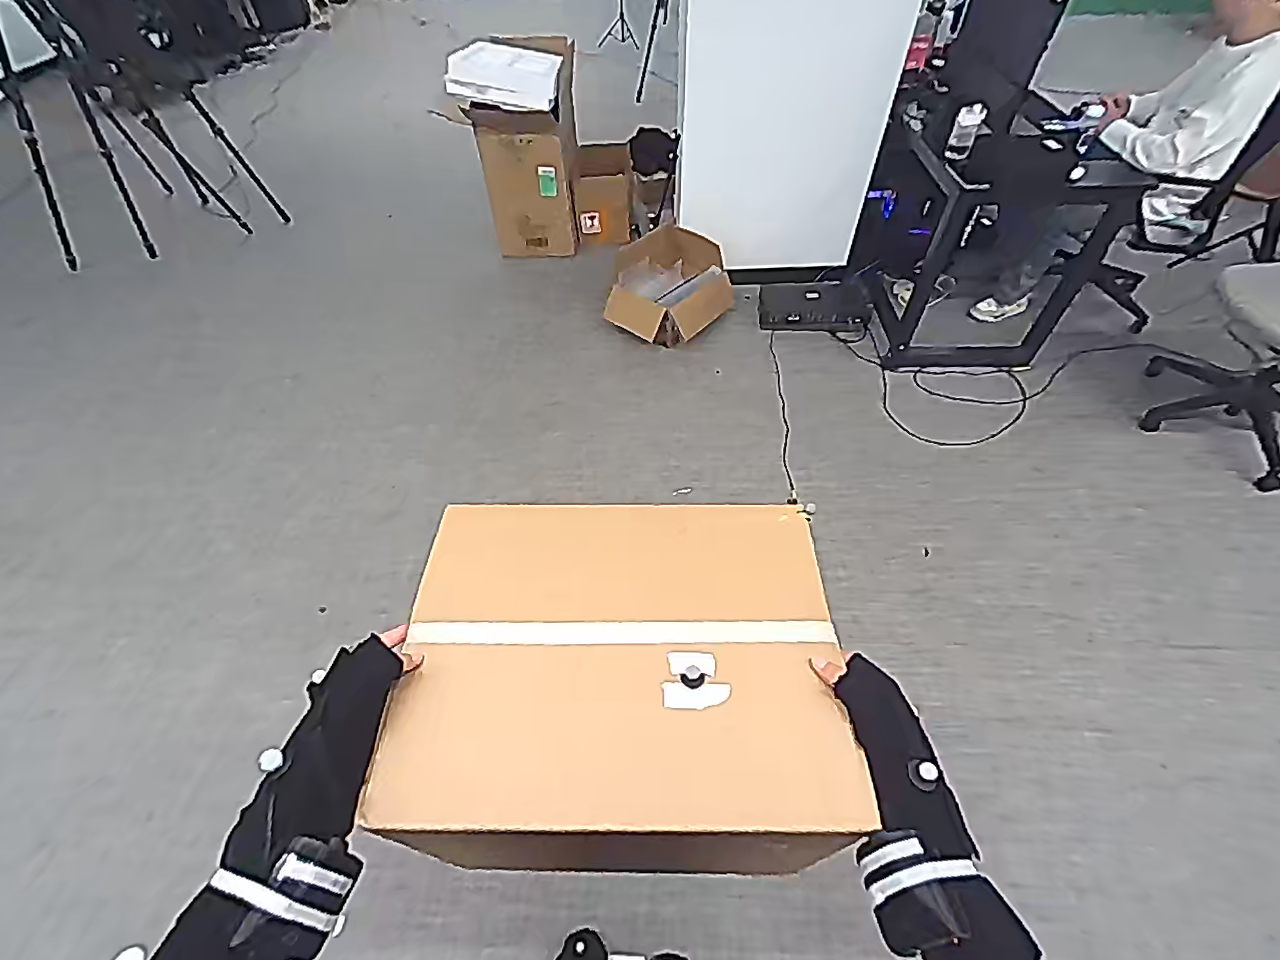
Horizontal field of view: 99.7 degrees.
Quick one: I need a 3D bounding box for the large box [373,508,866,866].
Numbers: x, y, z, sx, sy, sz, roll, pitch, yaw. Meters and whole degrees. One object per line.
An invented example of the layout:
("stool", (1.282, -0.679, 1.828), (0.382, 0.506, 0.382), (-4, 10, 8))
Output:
("large box", (-0.017, 0.246, 0.637), (0.408, 0.320, 0.320), (0, 49, 1))
